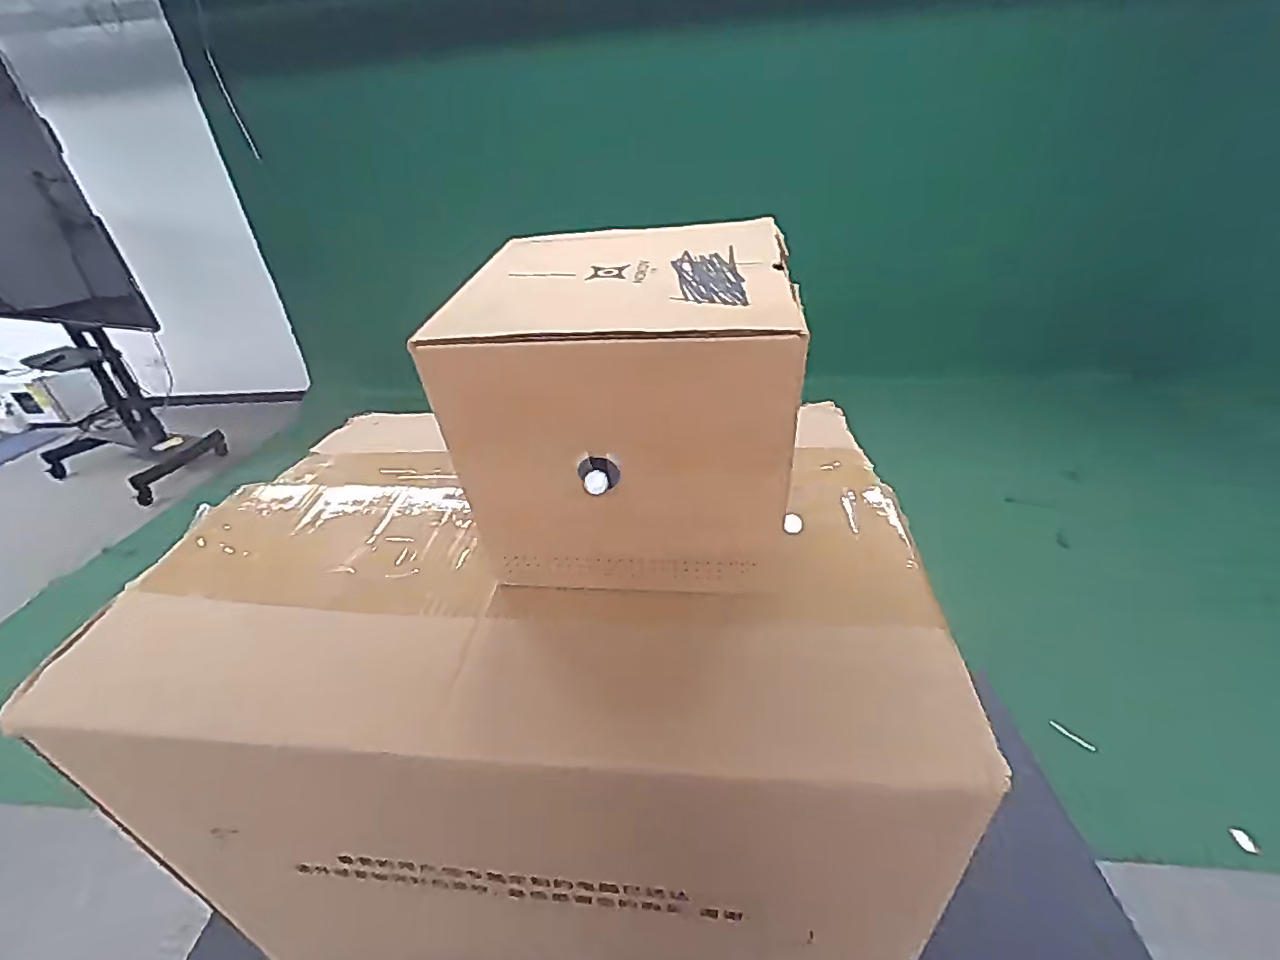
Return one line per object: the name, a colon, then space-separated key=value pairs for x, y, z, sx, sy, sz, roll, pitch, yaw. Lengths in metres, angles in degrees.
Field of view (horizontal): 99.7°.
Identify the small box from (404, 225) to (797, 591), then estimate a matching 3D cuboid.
small box: x=-0.005 y=-0.045 z=0.342 sx=0.179 sy=0.176 sz=0.168 roll=0 pitch=39 yaw=9
